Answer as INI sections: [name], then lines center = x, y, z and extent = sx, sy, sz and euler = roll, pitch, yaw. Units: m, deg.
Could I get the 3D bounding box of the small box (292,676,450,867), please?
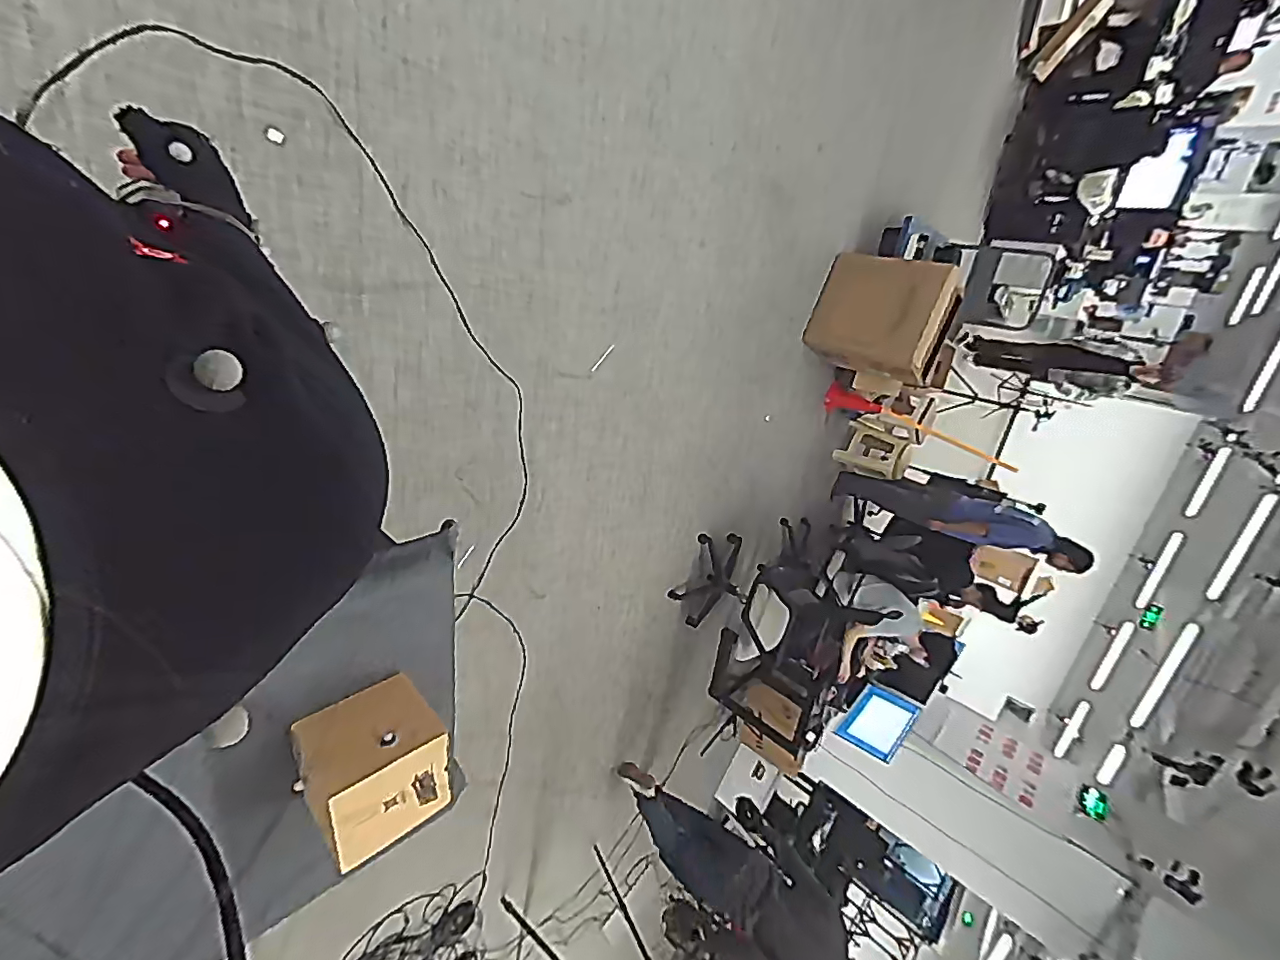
[small box]
center = -0.431, 0.455, 0.876
extent = 0.179, 0.176, 0.168
euler = -18, 123, -43
